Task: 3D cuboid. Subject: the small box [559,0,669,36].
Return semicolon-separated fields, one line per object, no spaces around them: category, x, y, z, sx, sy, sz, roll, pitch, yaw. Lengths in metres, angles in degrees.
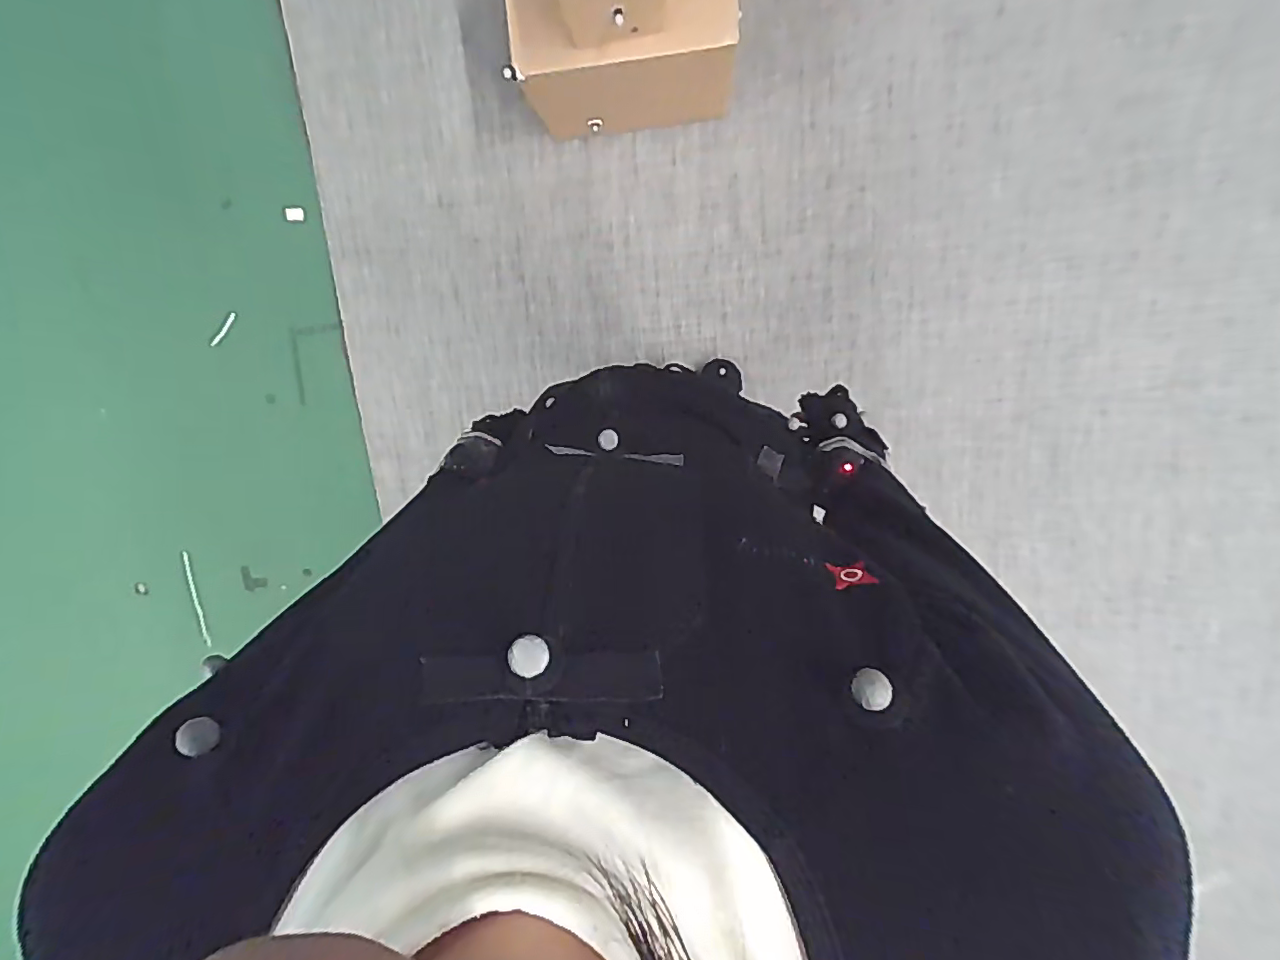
small box;-0.048;-0.833;0.839;0.168;0.176;0.179;-6;104;8
